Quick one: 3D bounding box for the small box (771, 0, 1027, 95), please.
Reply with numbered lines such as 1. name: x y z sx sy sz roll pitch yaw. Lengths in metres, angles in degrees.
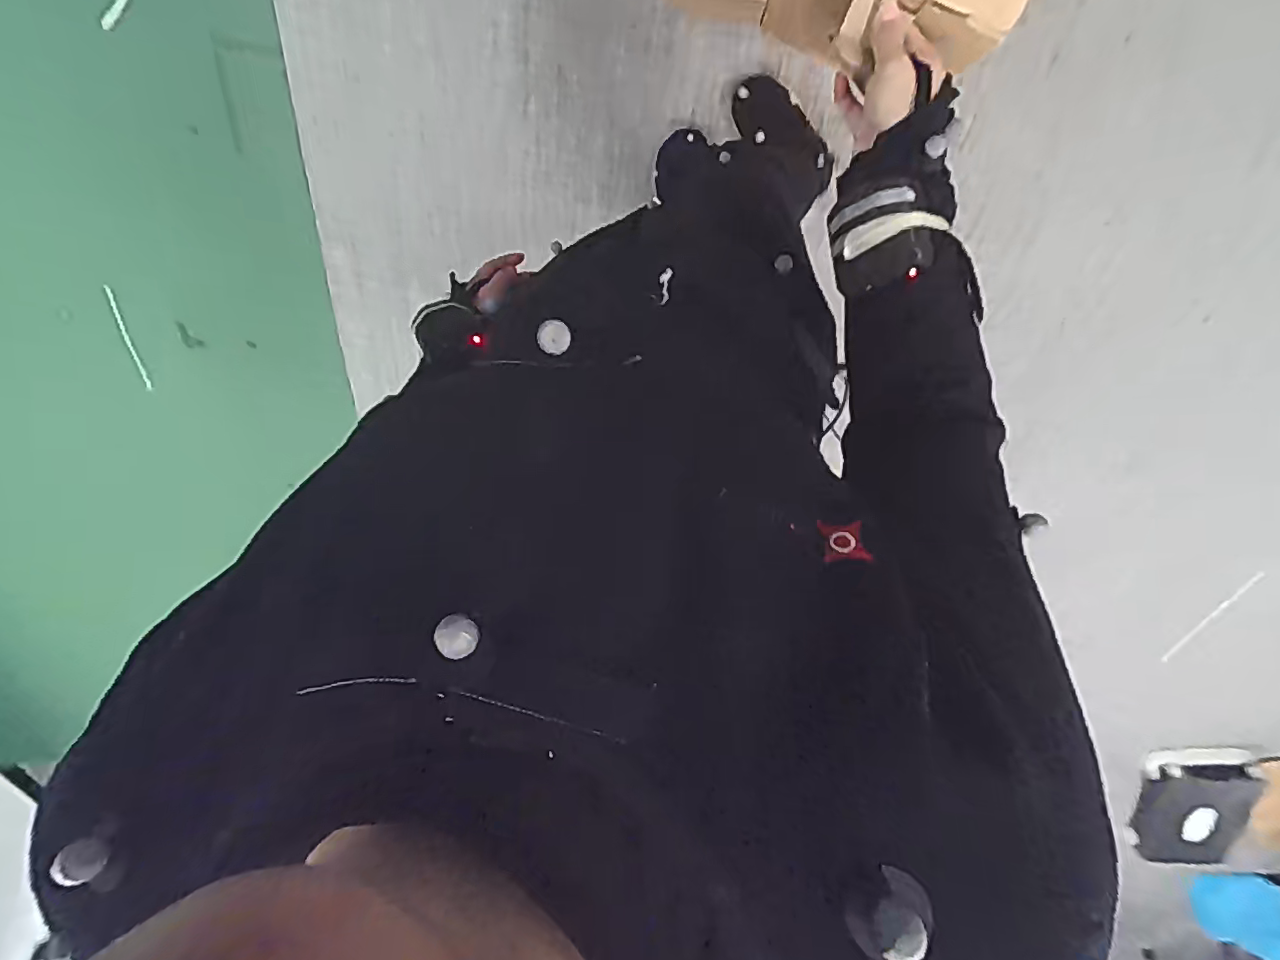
1. small box: 0.212 -0.431 0.395 0.168 0.176 0.179 24 112 -4
